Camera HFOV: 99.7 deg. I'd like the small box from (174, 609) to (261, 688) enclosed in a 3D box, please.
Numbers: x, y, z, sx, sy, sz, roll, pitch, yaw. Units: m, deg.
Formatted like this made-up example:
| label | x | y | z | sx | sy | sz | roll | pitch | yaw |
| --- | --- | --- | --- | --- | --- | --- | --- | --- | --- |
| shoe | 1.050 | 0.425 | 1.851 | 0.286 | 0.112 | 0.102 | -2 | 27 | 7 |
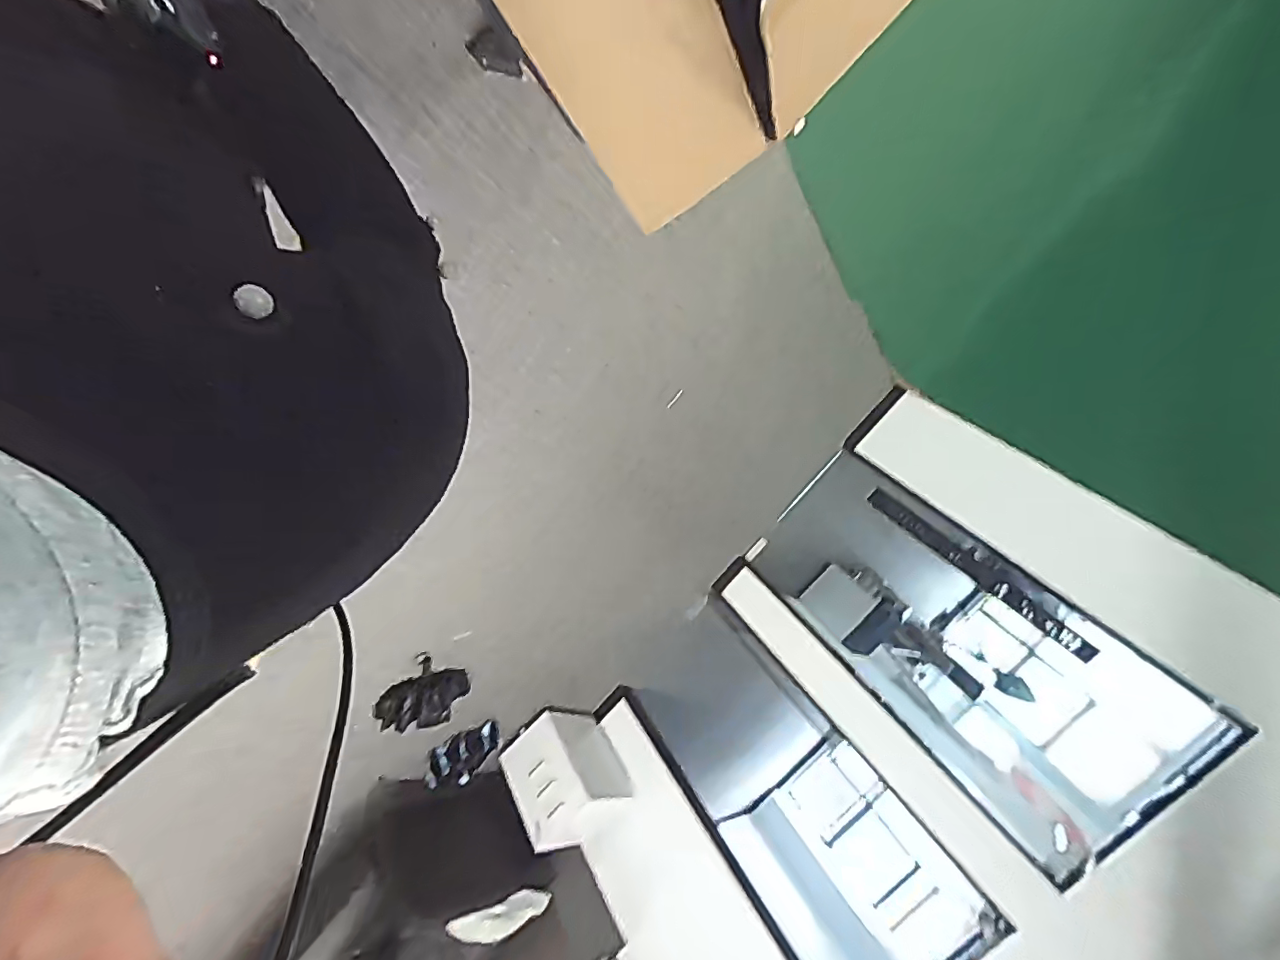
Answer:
| label | x | y | z | sx | sy | sz | roll | pitch | yaw |
| --- | --- | --- | --- | --- | --- | --- | --- | --- | --- |
| small box | -1.346 | 0.531 | 1.715 | 0.179 | 0.176 | 0.168 | -51 | 142 | 10 |
